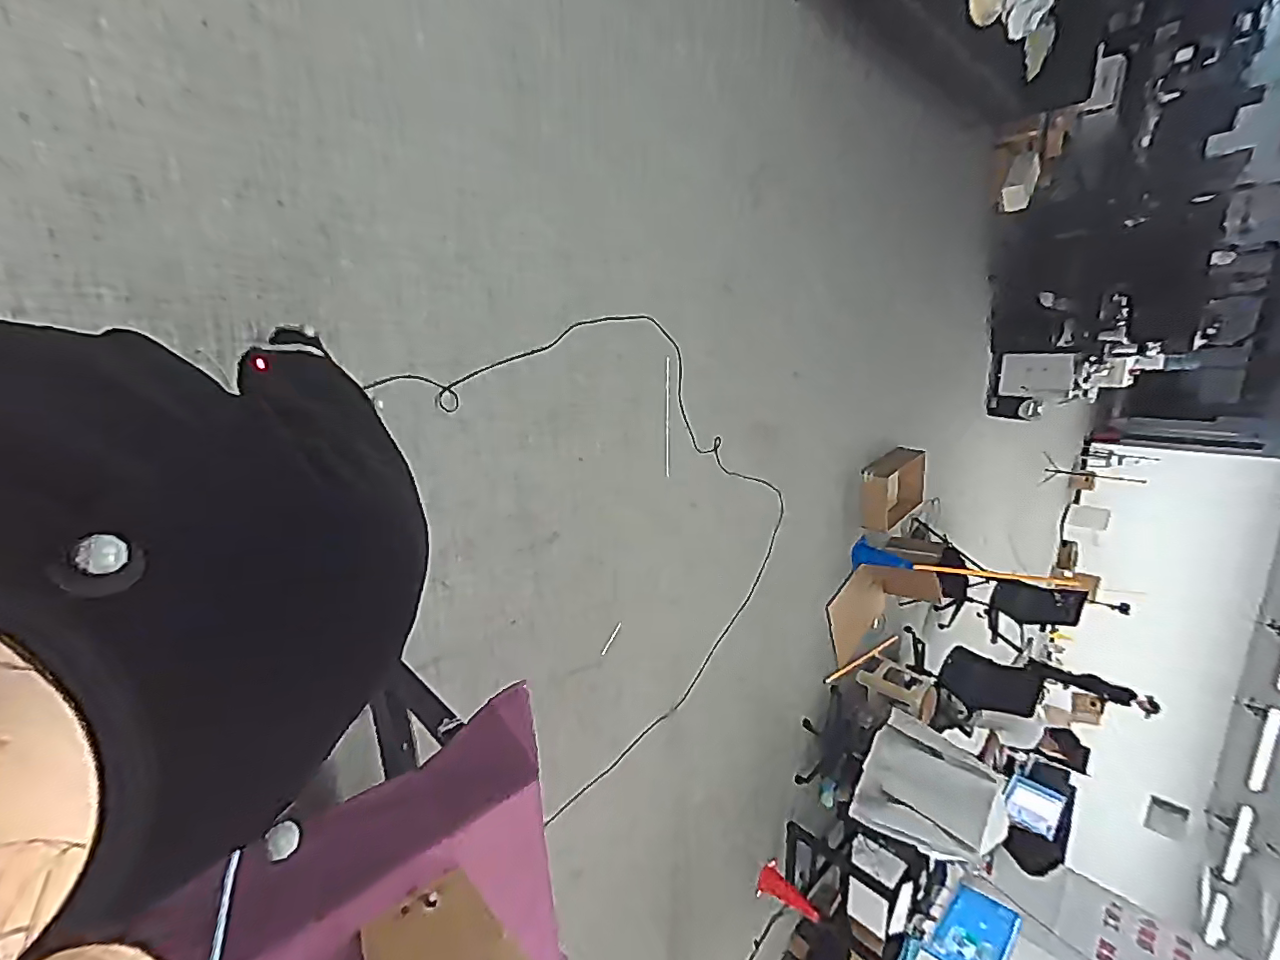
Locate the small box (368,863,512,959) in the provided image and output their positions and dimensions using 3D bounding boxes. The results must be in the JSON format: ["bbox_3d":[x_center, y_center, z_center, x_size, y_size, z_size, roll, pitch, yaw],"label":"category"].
[{"bbox_3d":[-0.318,0.777,0.864,0.168,0.176,0.179,-9,105,-43],"label":"small box"}]
